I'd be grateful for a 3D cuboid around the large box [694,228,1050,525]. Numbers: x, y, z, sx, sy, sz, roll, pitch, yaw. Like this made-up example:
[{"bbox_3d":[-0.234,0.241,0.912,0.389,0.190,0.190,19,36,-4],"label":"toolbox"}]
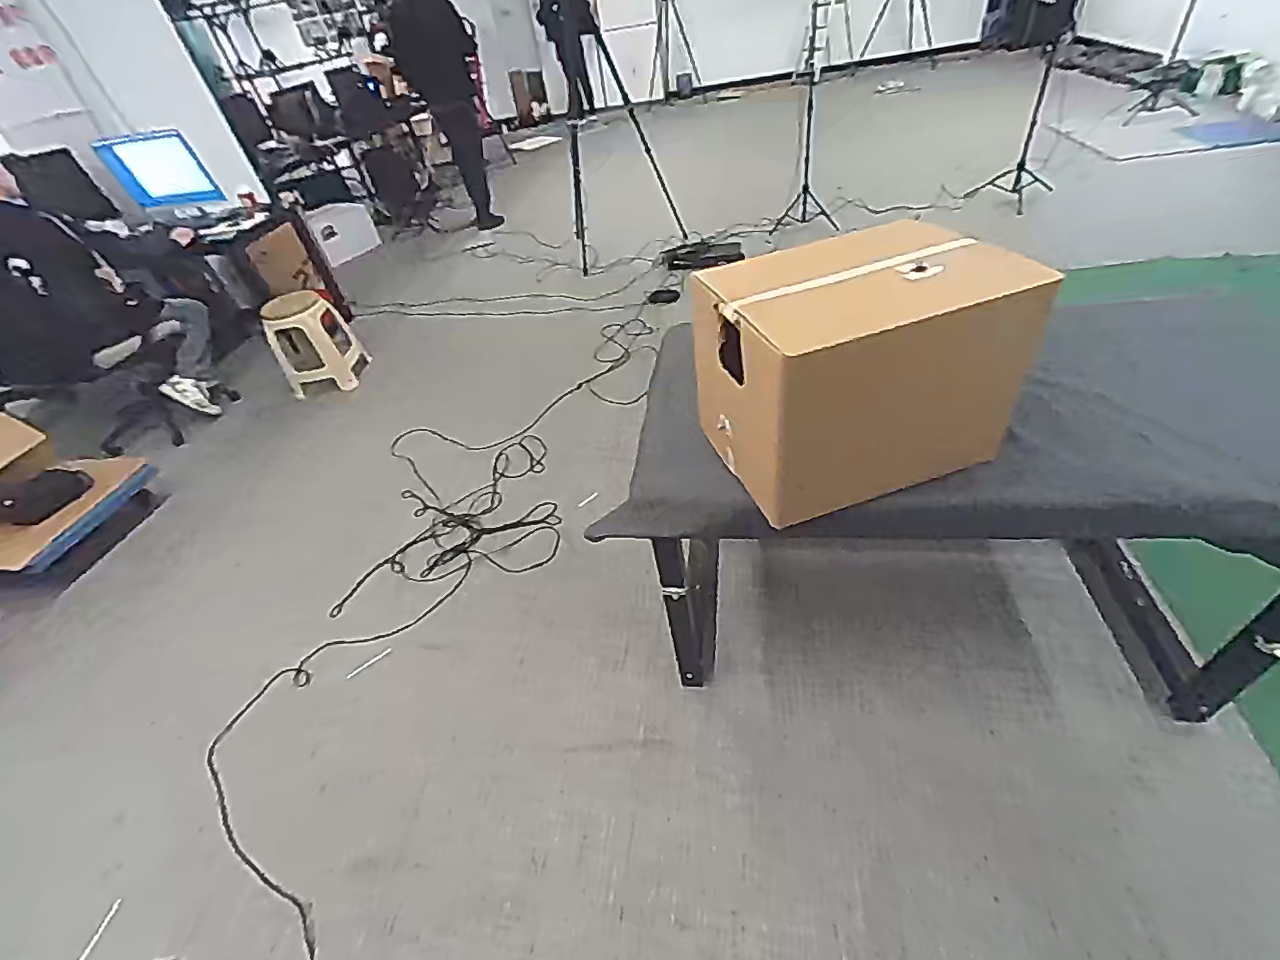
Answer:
[{"bbox_3d":[0.334,-0.180,0.895,0.408,0.320,0.320,-17,42,-9],"label":"large box"}]
